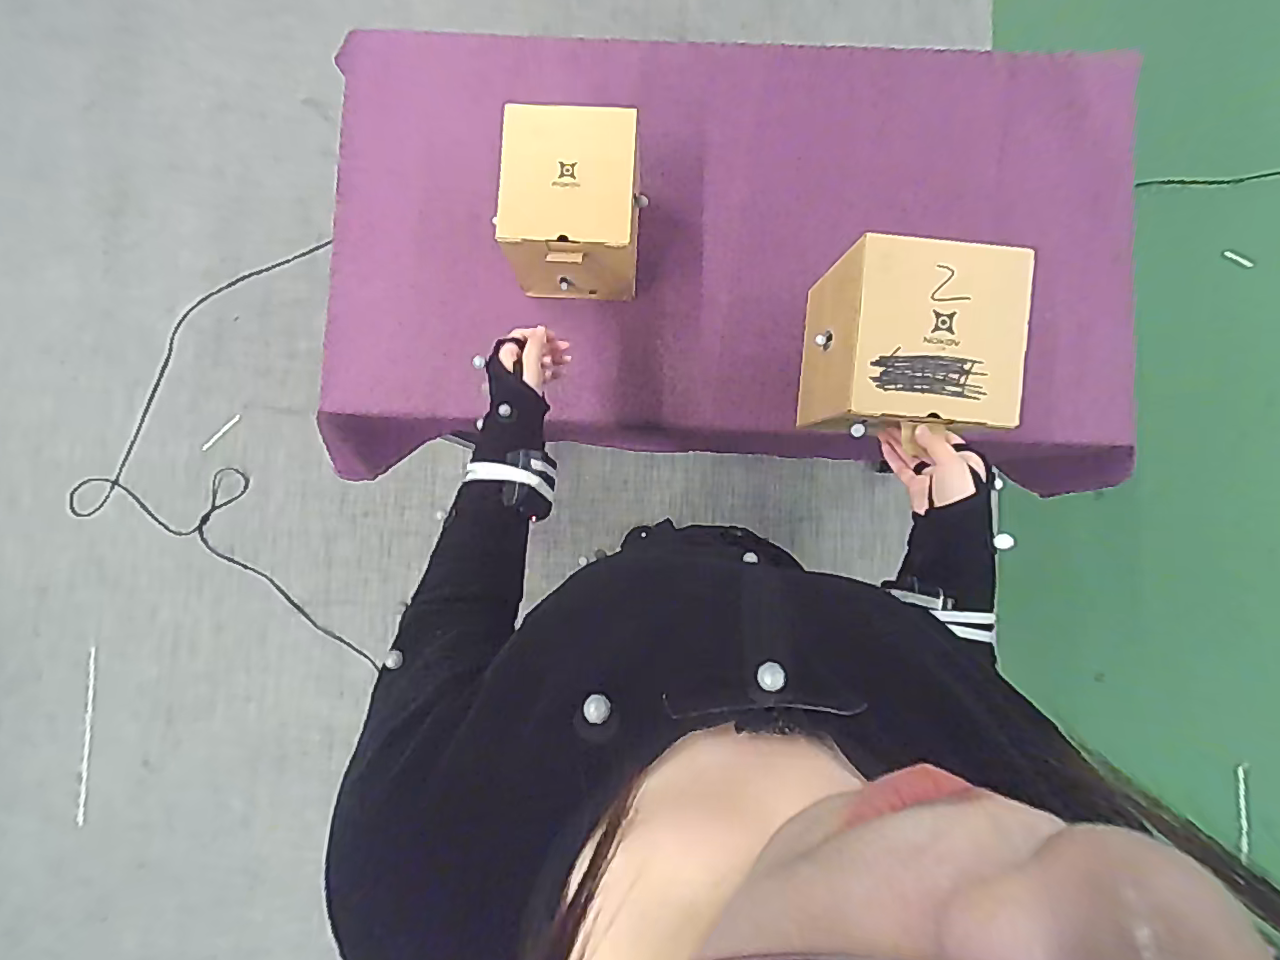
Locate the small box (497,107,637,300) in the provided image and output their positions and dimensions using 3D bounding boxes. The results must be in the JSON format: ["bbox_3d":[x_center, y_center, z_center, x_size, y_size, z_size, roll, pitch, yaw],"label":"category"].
[{"bbox_3d":[-0.091,-0.373,0.754,0.168,0.176,0.179,3,87,1],"label":"small box"}]
